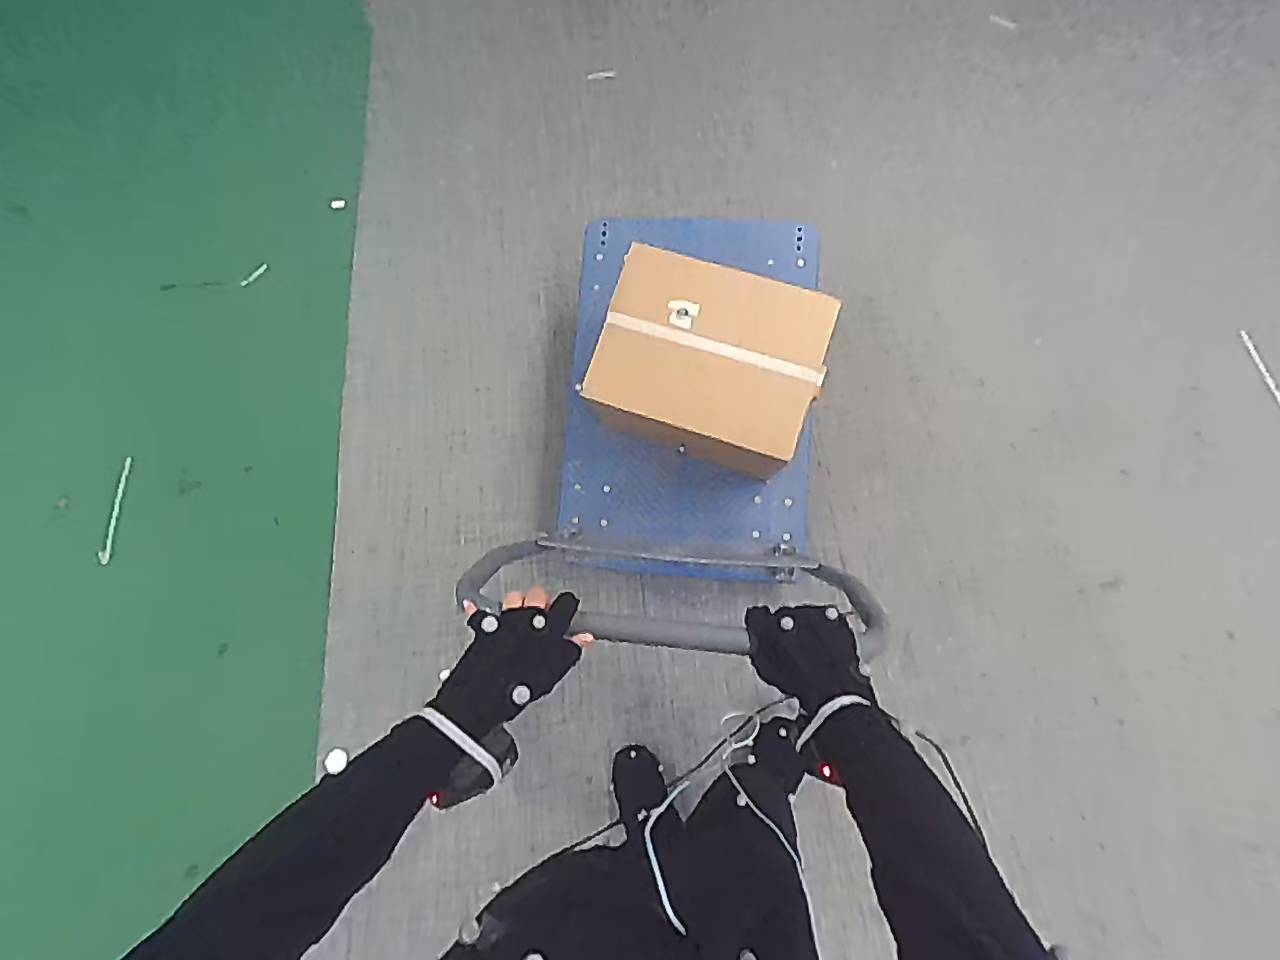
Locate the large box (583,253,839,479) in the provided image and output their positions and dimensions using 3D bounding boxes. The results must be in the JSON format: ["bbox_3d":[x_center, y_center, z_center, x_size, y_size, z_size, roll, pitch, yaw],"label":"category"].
[{"bbox_3d":[0.145,-0.214,1.133,0.408,0.320,0.320,19,86,8],"label":"large box"}]
